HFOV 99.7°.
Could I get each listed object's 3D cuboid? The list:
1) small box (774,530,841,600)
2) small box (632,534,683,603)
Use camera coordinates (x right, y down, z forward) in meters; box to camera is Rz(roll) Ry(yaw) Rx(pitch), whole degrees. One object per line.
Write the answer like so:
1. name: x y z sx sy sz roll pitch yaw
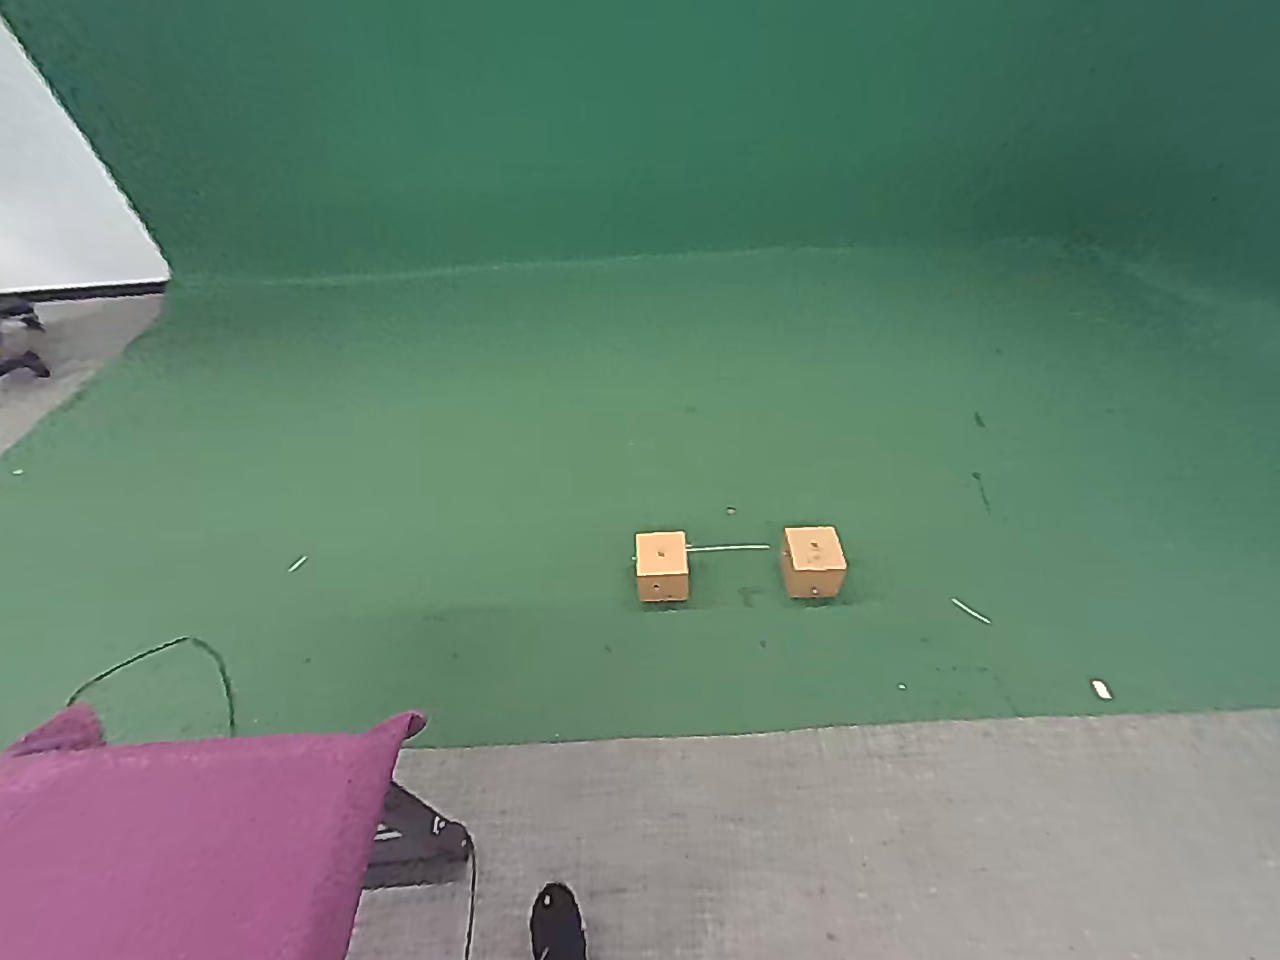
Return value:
1. small box: 0.562 0.290 1.839 0.168 0.176 0.179 -2 46 1
2. small box: 0.060 0.308 1.850 0.168 0.176 0.179 -3 45 1
